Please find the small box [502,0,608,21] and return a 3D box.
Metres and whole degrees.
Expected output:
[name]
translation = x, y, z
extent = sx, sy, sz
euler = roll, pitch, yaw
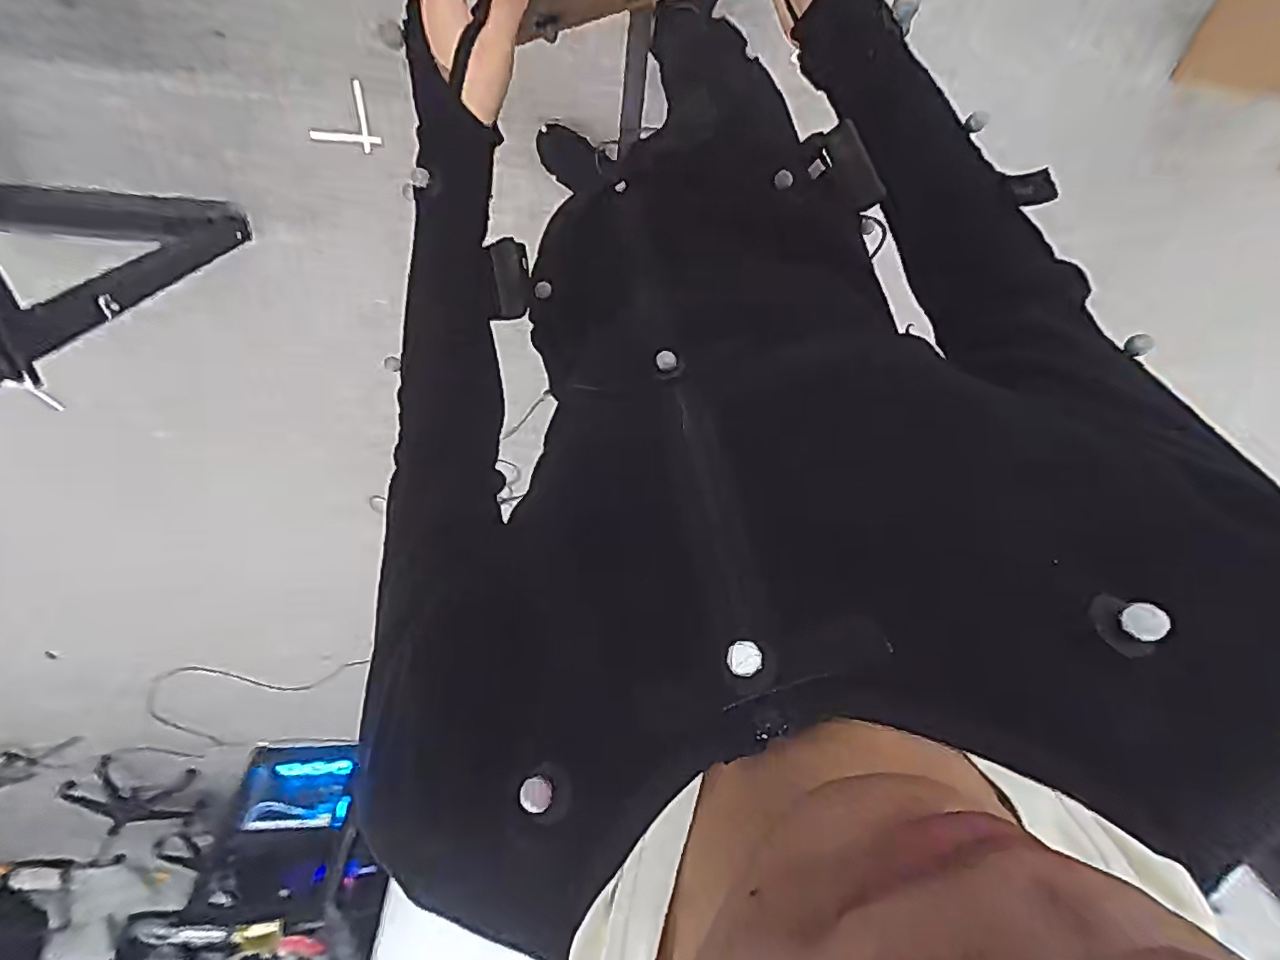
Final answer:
[small box]
translation = -0.042, -0.433, 0.337
extent = 0.168, 0.176, 0.179
euler = -15, 109, 2
